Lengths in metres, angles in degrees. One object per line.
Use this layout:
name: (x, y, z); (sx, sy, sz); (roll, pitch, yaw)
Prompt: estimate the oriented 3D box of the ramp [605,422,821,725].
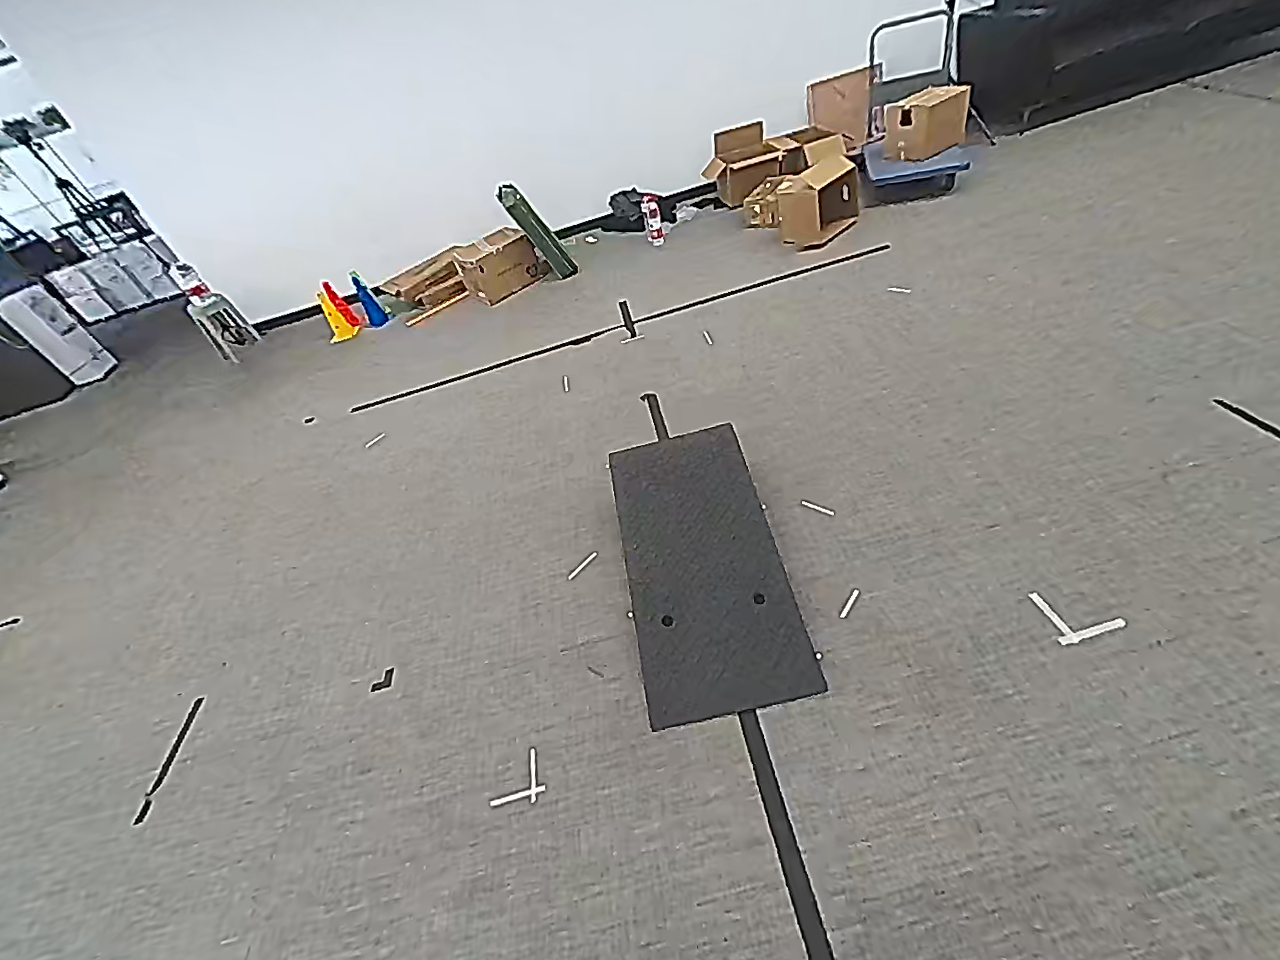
ramp: (0.182, 0.230, 1.769); (0.509, 0.206, 0.991); (-15, 42, 2)
